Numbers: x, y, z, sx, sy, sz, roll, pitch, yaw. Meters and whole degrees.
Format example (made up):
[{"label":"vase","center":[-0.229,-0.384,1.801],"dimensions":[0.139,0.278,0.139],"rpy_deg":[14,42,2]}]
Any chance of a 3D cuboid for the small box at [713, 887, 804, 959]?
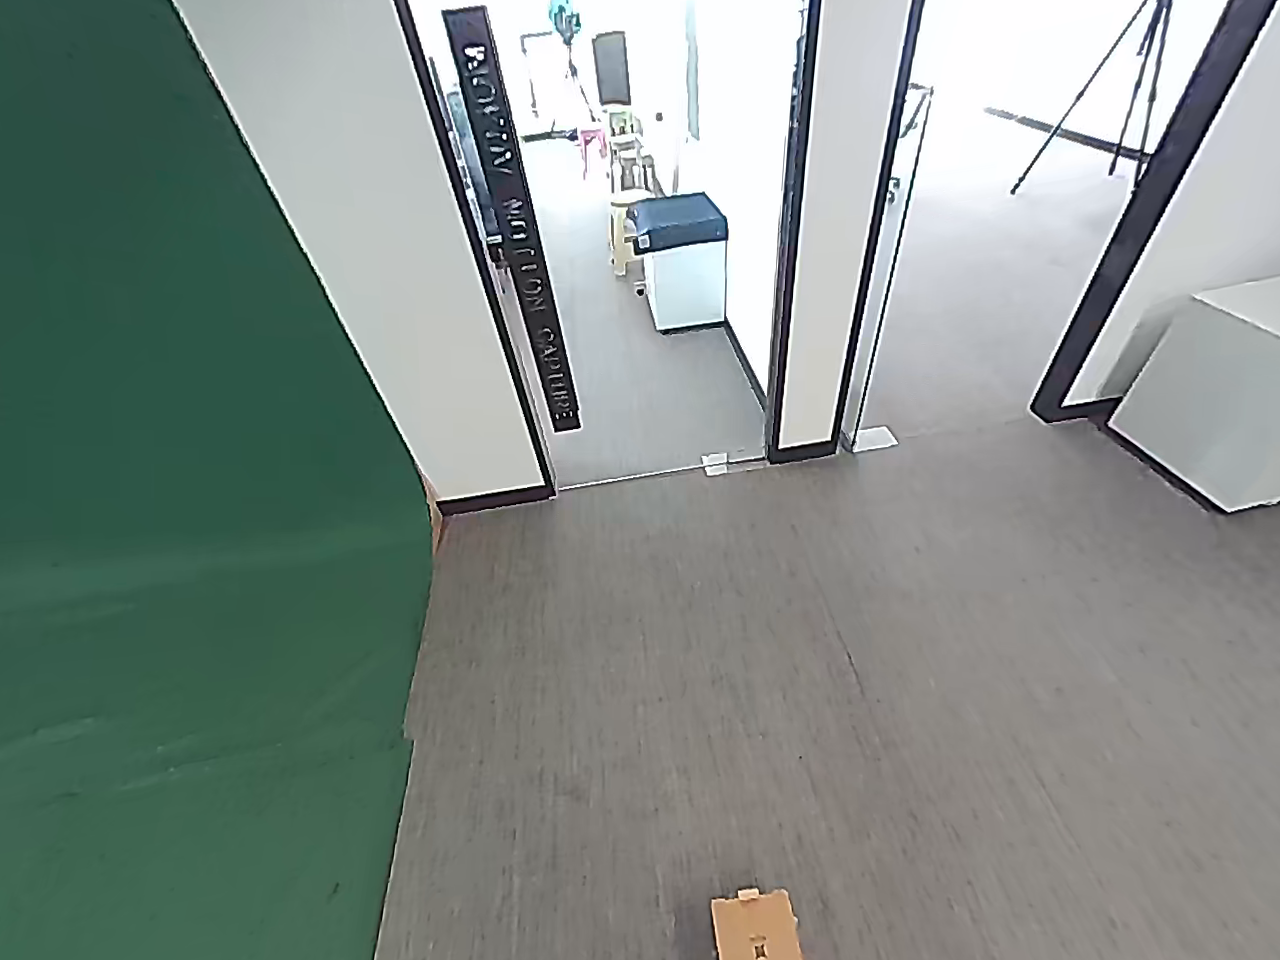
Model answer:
[{"label":"small box","center":[0.245,0.974,1.120],"dimensions":[0.168,0.176,0.179],"rpy_deg":[-8,44,3]}]
